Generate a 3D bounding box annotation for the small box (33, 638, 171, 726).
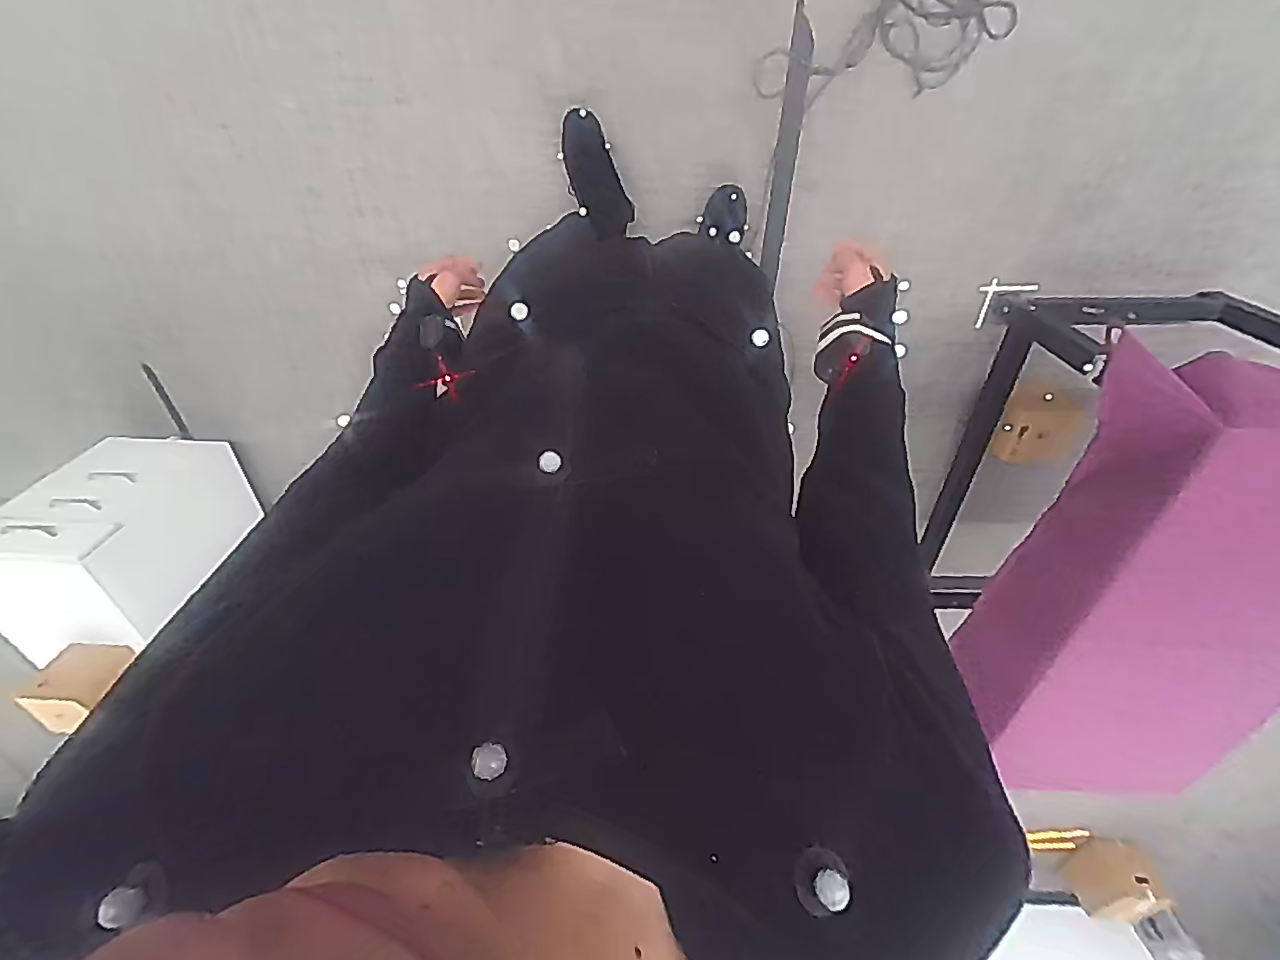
[{"bbox_3d":[-1.488,0.561,1.511,0.179,0.176,0.168,2,127,2],"label":"small box"}]
